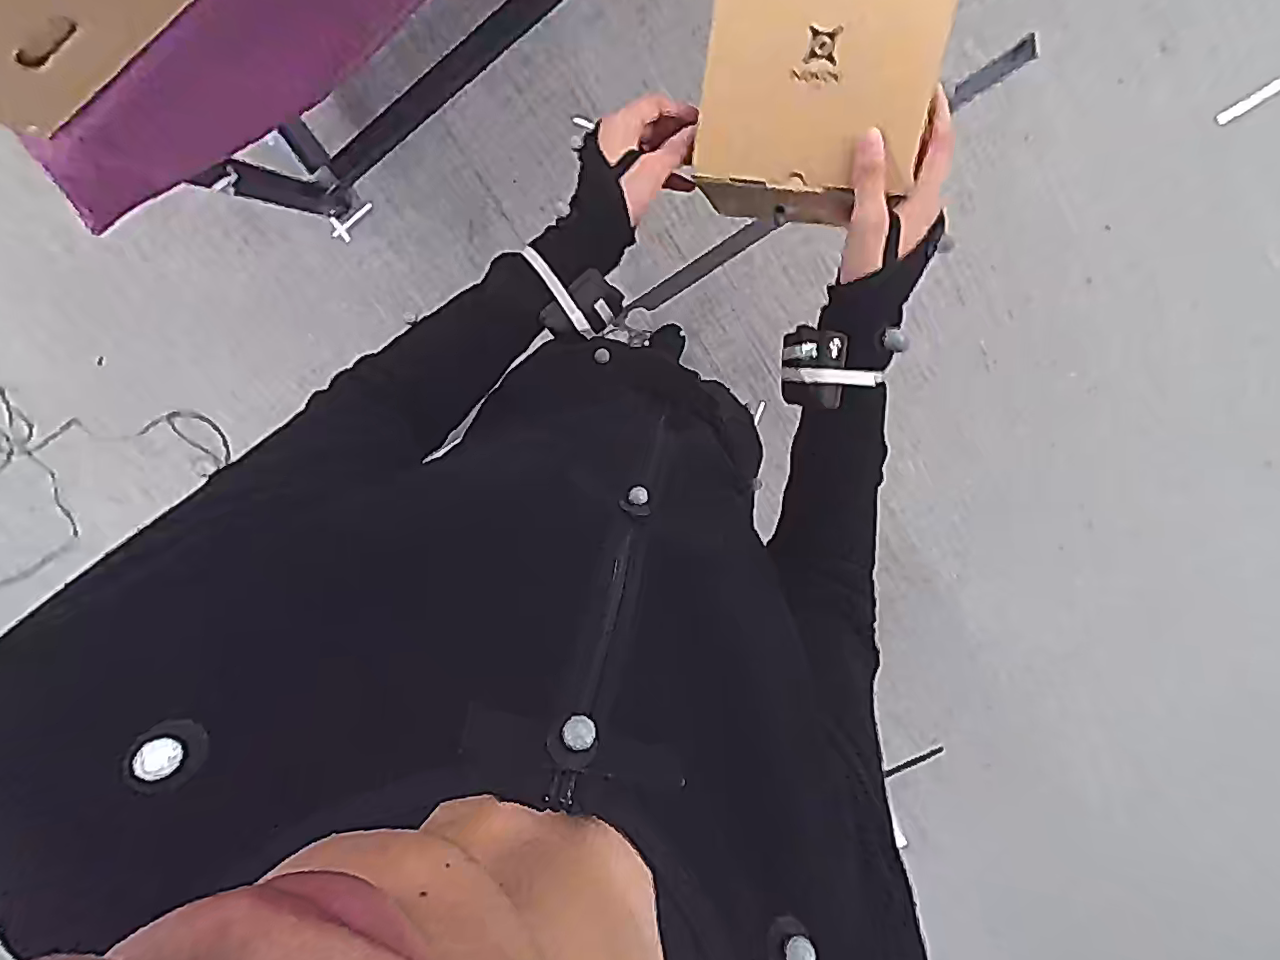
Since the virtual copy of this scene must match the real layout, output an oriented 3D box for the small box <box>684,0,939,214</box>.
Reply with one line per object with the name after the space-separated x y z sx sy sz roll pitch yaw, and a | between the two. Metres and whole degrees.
0.141 -0.340 0.462 0.168 0.176 0.179 10 111 13 | small box
